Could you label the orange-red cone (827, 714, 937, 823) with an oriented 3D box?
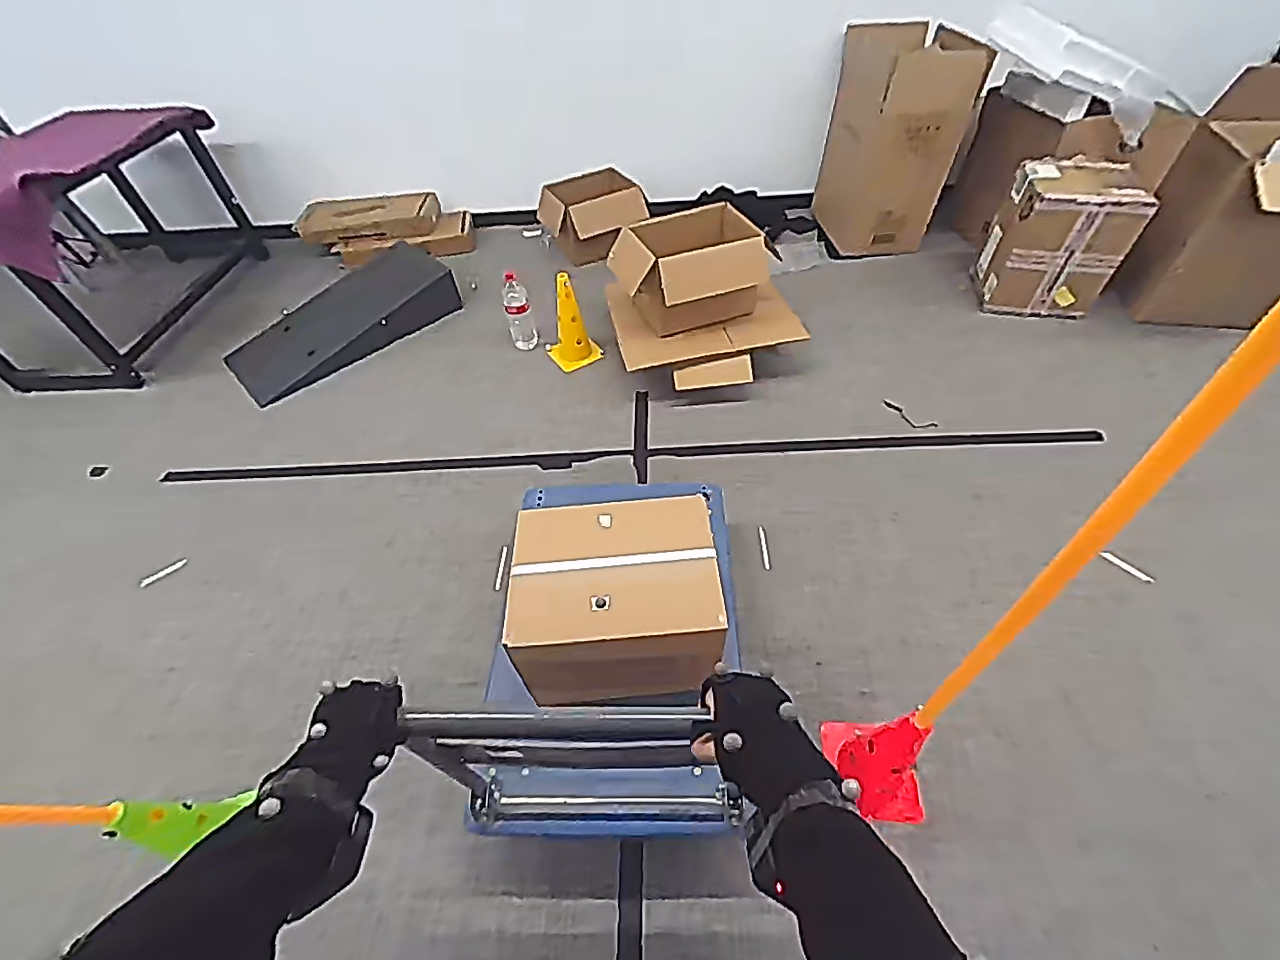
[{"bbox_3d":[0.525,0.549,1.103,0.199,0.360,0.198,4,50,6],"label":"orange-red cone"}]
